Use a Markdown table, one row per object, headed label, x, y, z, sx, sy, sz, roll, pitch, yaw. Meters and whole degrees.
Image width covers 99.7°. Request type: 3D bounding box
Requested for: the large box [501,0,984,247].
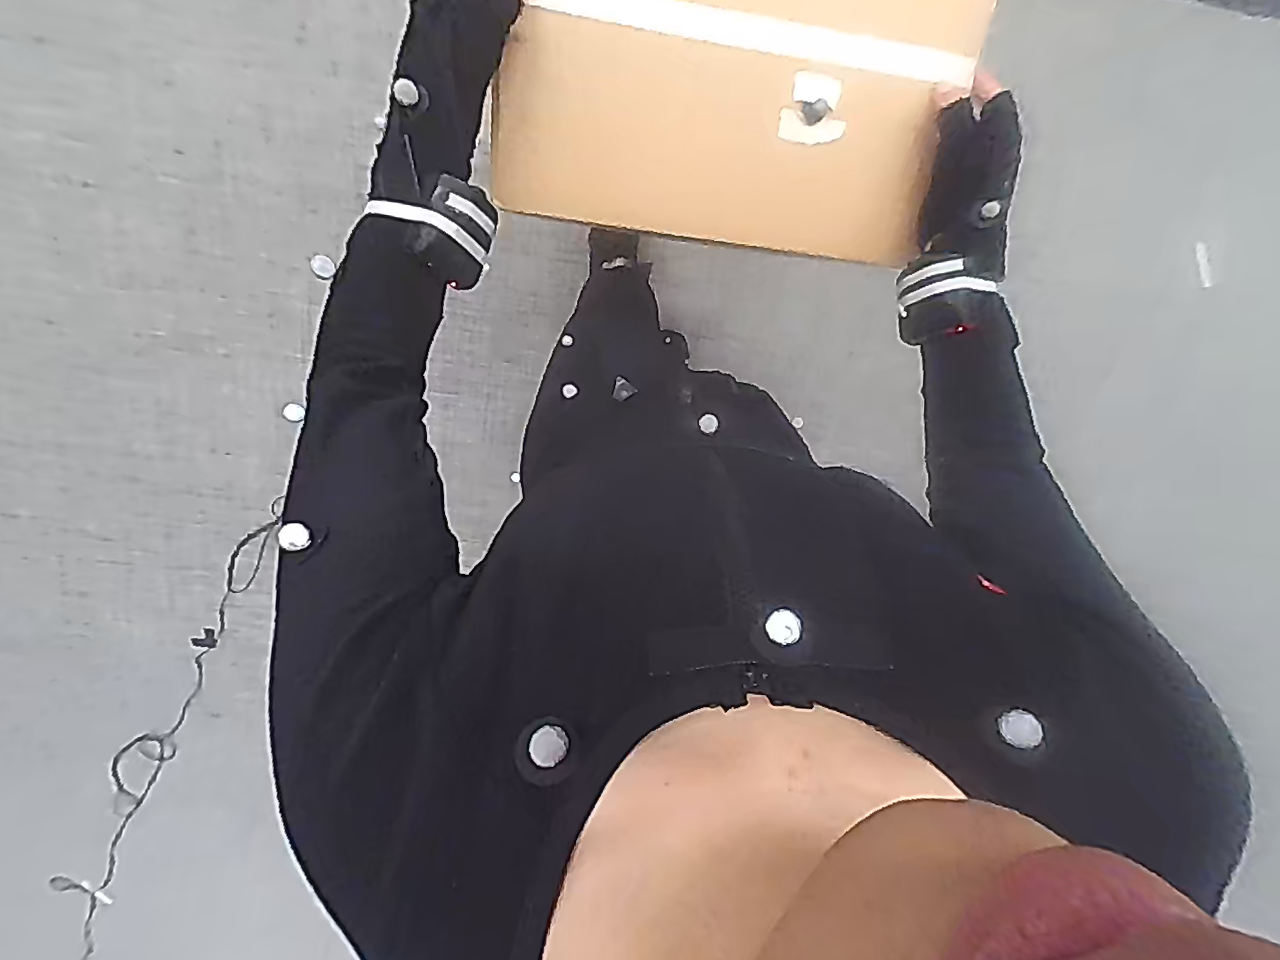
| label | x | y | z | sx | sy | sz | roll | pitch | yaw |
| --- | --- | --- | --- | --- | --- | --- | --- | --- | --- |
| large box | 0.071 | -0.439 | 0.580 | 0.408 | 0.320 | 0.320 | 4 | 114 | -9 |
